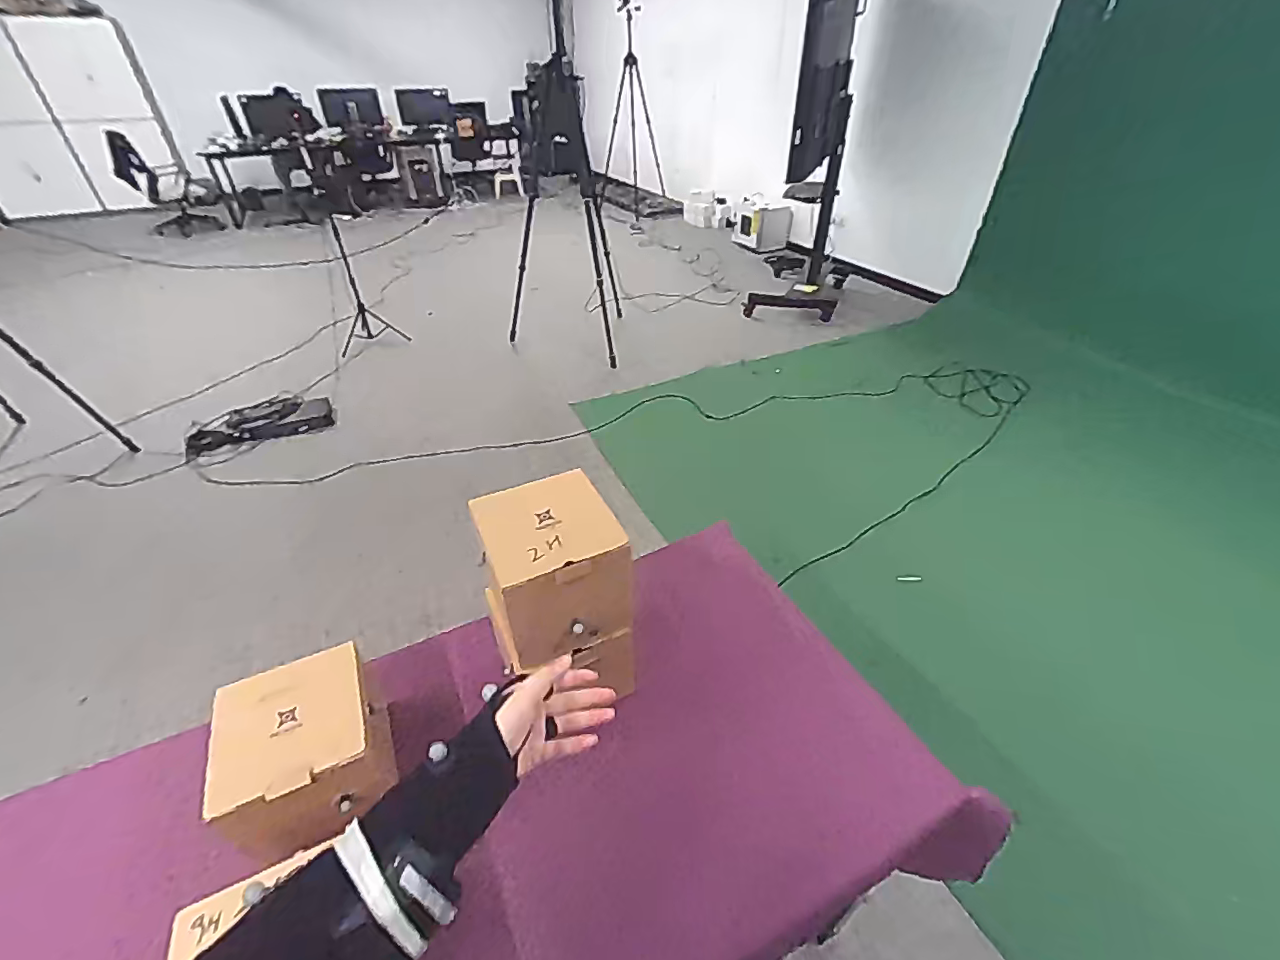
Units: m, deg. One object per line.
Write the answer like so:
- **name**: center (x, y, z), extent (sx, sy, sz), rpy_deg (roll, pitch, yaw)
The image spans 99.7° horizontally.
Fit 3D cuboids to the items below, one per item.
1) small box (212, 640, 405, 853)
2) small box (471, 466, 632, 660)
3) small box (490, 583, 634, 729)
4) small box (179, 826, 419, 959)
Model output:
- **small box**: center (-0.427, 0.357, 0.719), extent (0.168, 0.176, 0.179), rpy_deg (-18, 41, -21)
- **small box**: center (-0.121, 0.112, 0.752), extent (0.168, 0.176, 0.179), rpy_deg (-18, 43, -20)
- **small box**: center (-0.121, 0.246, 0.848), extent (0.168, 0.176, 0.179), rpy_deg (-20, 43, -22)
- **small box**: center (-0.324, 0.498, 0.537), extent (0.168, 0.176, 0.179), rpy_deg (-18, 42, -20)
